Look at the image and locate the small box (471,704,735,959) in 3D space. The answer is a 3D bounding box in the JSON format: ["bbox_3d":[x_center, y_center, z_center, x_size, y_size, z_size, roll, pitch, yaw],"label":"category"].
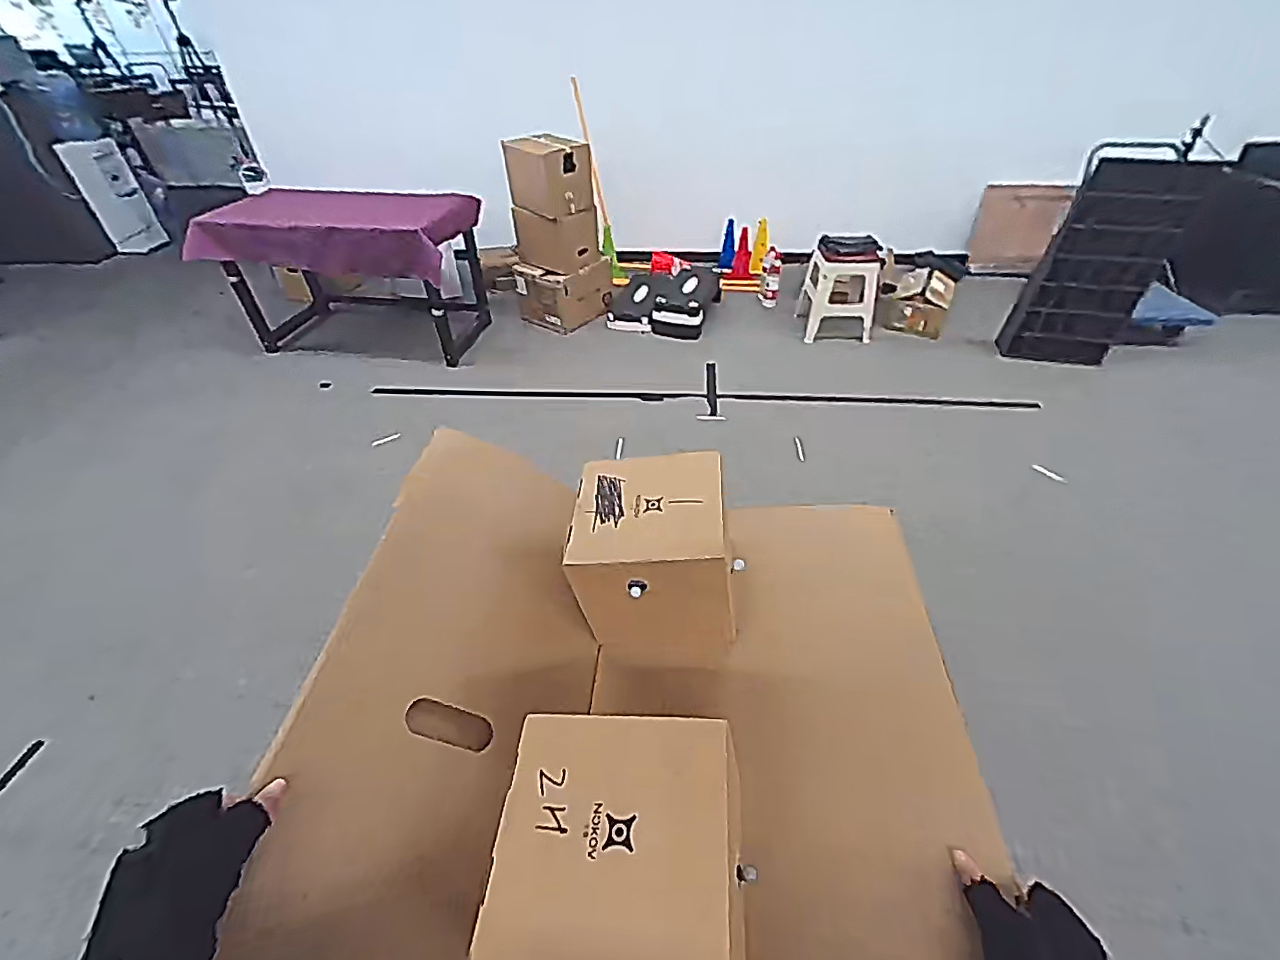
[{"bbox_3d":[-0.009,0.311,0.466,0.179,0.176,0.168,-3,44,13],"label":"small box"}]

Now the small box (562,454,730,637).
[{"bbox_3d":[0.019,0.088,0.691,0.179,0.176,0.168,-4,44,11],"label":"small box"}]
